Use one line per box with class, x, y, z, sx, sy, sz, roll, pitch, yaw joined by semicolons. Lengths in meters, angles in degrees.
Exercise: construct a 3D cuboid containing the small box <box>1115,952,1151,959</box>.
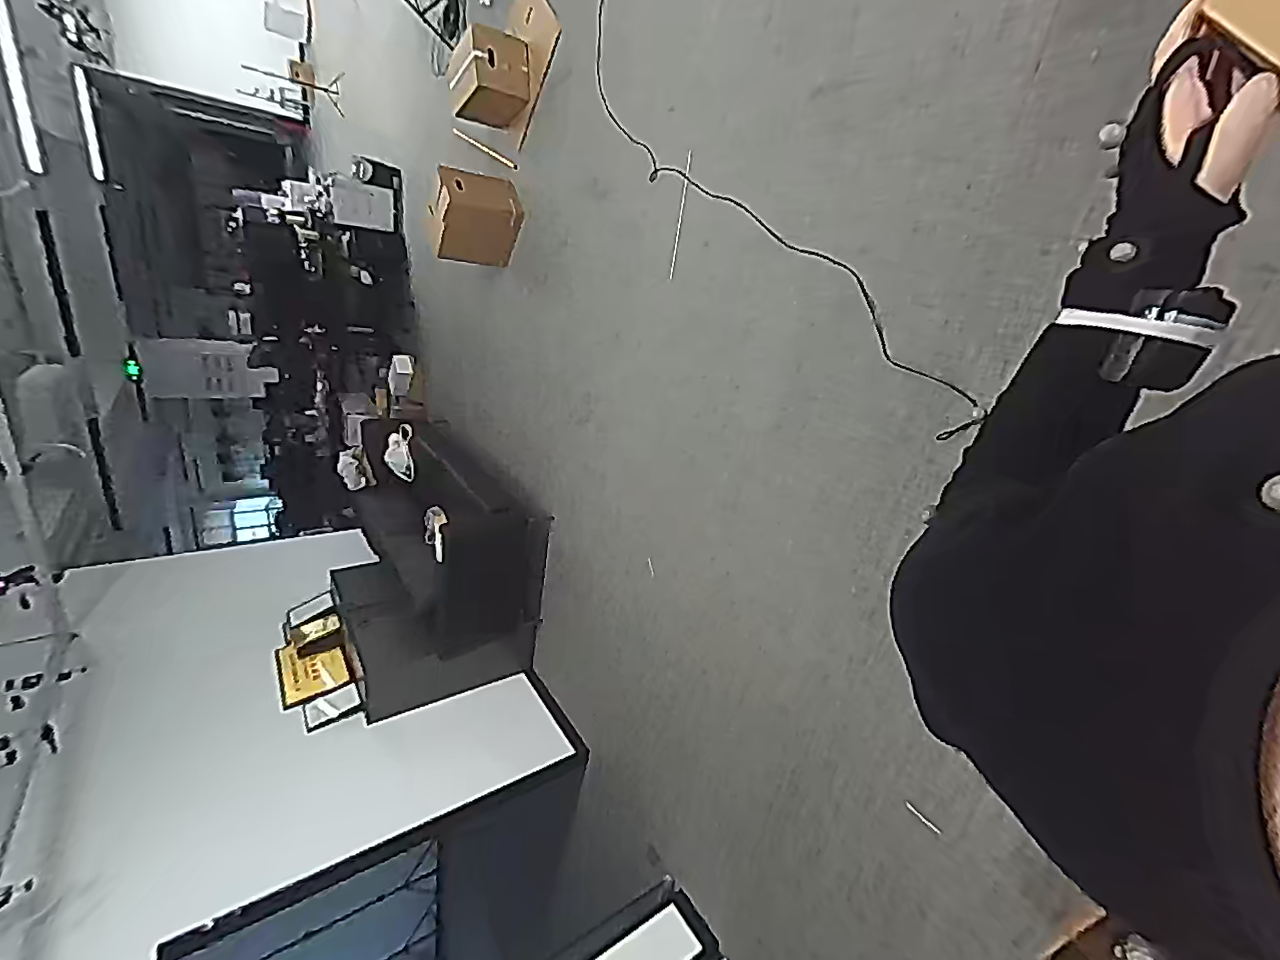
small box;0.945;1.037;1.005;0.179;0.176;0.168;42;127;42
